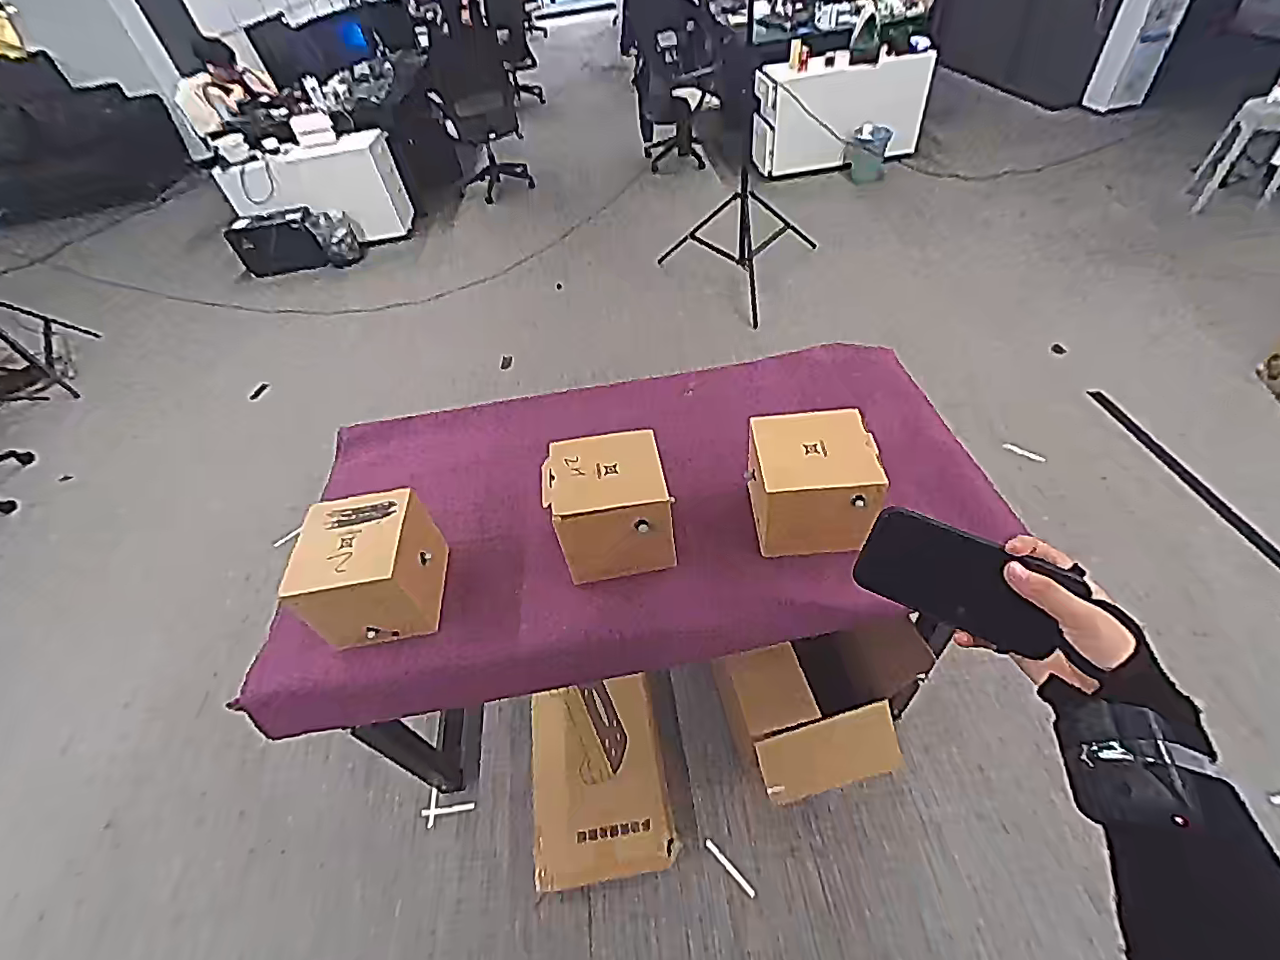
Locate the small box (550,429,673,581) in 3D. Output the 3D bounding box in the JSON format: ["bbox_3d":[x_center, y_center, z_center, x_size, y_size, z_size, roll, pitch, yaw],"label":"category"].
[{"bbox_3d":[-0.044,0.043,0.891,0.179,0.176,0.168,-11,45,-1],"label":"small box"}]

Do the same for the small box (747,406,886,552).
[{"bbox_3d":[0.273,0.003,0.880,0.179,0.176,0.168,-5,47,4],"label":"small box"}]
